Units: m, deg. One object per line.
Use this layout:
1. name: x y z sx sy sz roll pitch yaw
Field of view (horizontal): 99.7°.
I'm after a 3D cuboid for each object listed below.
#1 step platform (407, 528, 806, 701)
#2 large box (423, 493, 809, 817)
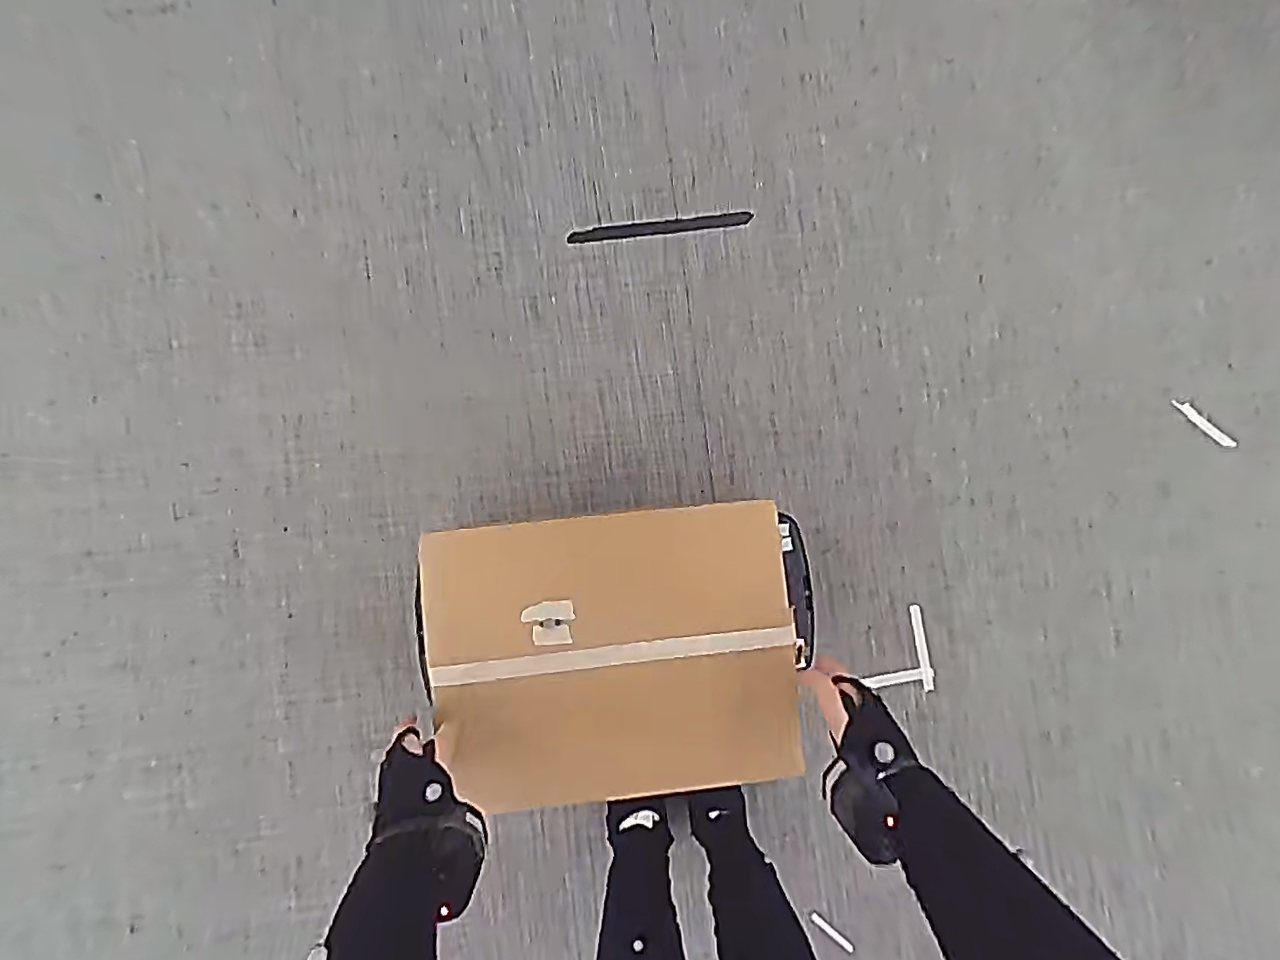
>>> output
1. step platform: -0.054 0.228 0.978 0.684 0.204 0.286 -1 87 -2
2. large box: -0.029 0.196 0.742 0.408 0.320 0.320 -6 86 -2
